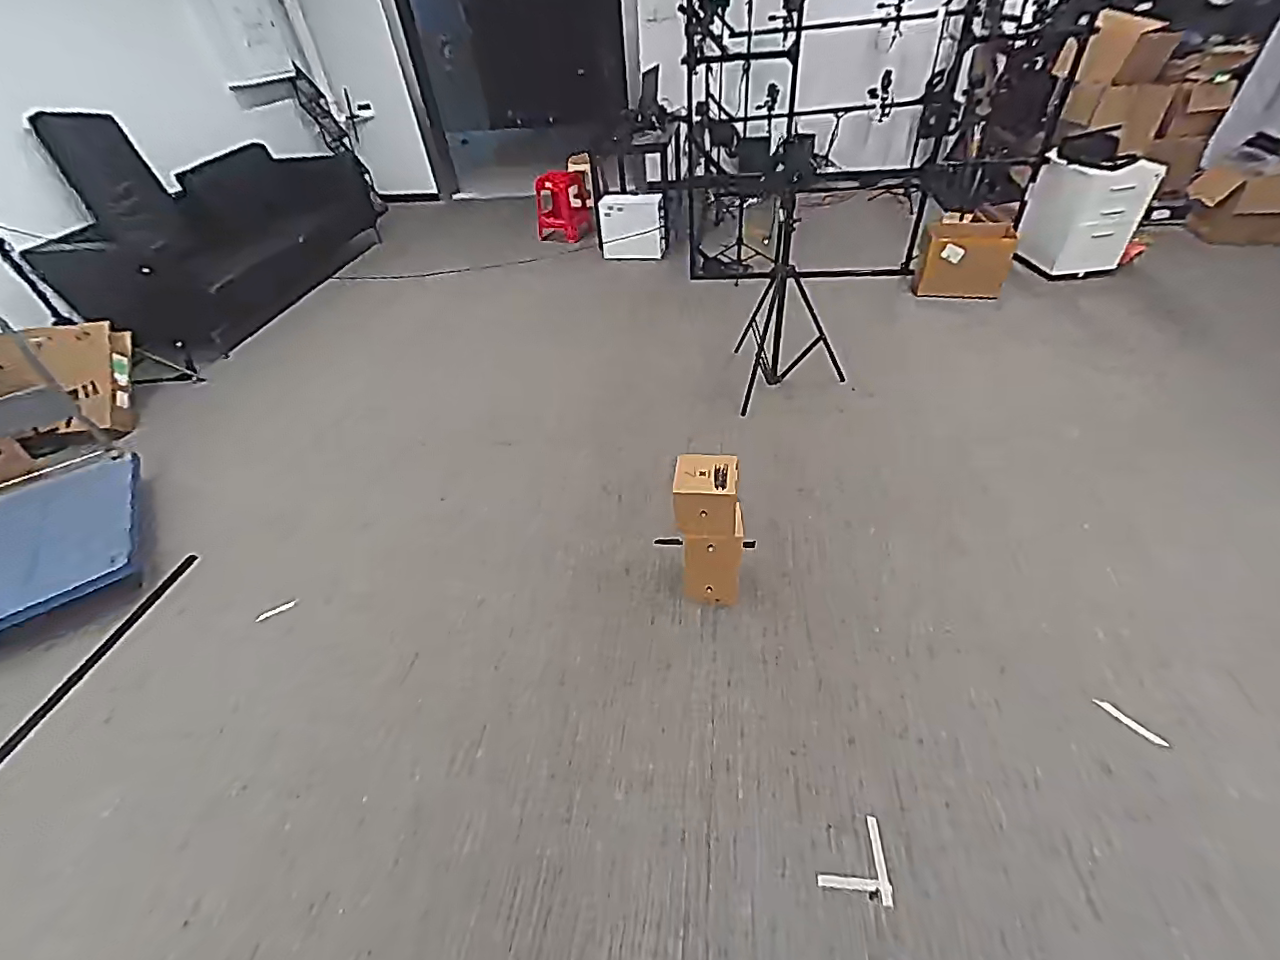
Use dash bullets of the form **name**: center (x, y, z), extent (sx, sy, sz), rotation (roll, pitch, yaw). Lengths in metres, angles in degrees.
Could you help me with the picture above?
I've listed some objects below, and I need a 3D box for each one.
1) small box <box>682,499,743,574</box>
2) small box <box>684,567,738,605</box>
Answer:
- **small box**: center (0.220, 0.177, 1.677), extent (0.179, 0.176, 0.168), rotation (-3, 42, 5)
- **small box**: center (0.240, 0.292, 1.791), extent (0.168, 0.176, 0.179), rotation (4, 42, 10)
